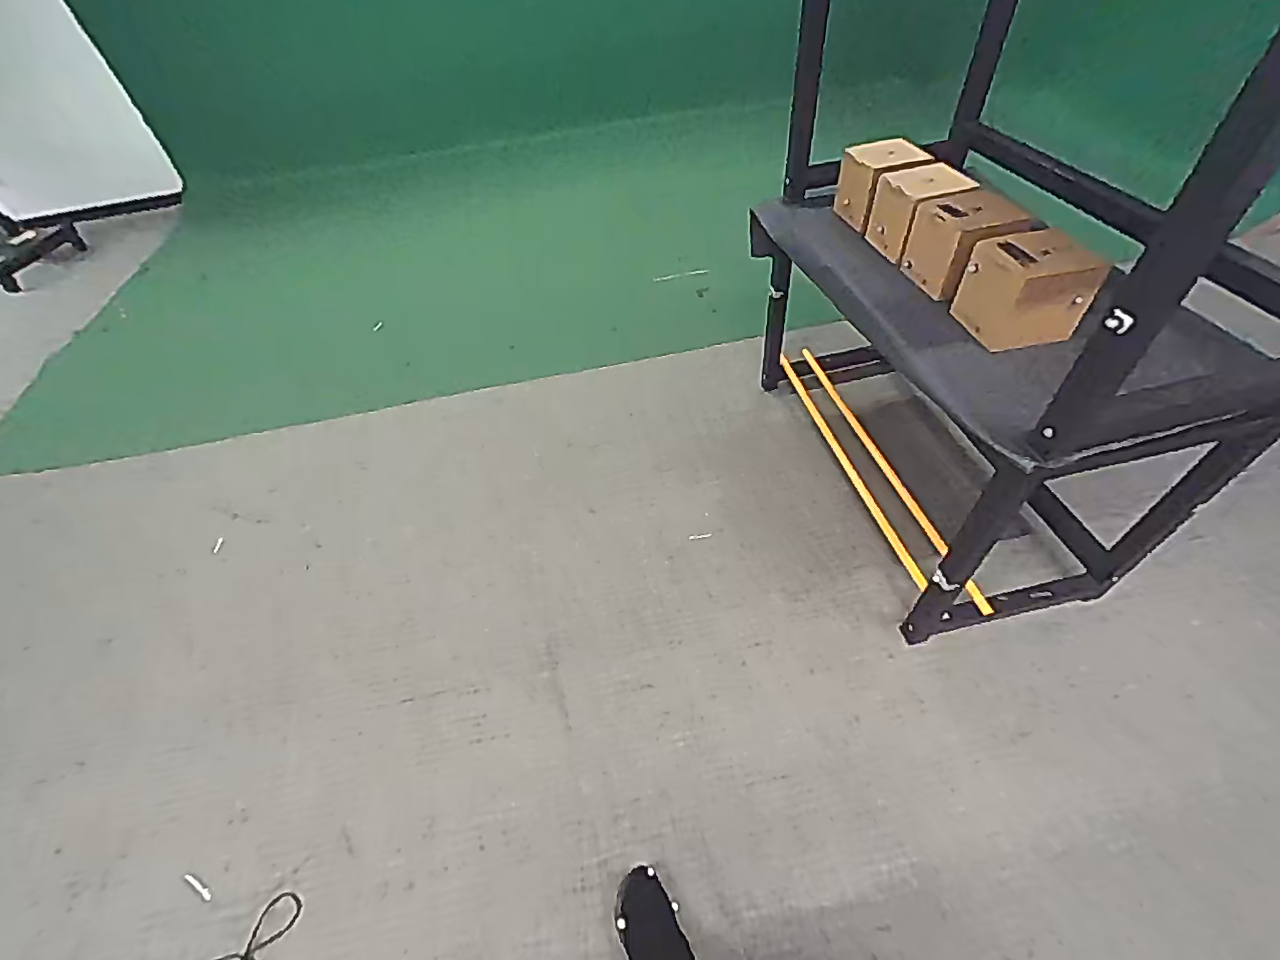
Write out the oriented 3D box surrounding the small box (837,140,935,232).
[{"bbox_3d":[0.683,-0.827,1.526,0.179,0.176,0.168,-13,49,-5],"label":"small box"}]
